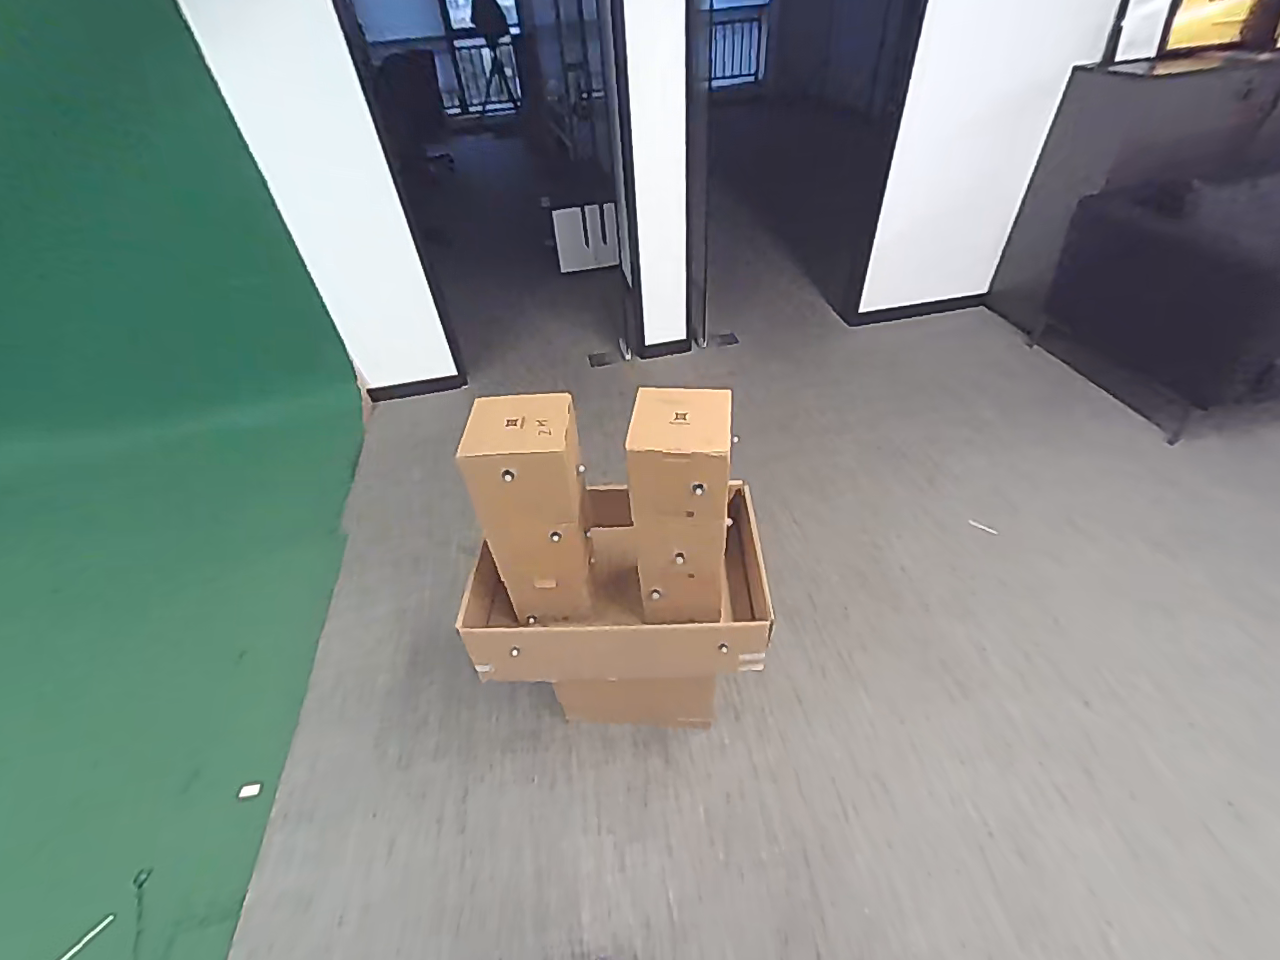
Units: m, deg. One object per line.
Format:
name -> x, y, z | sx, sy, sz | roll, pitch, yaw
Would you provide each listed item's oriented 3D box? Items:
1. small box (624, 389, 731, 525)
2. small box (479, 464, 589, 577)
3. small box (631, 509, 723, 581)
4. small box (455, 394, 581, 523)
small box -> 0.071, -0.040, 0.949 | 0.168, 0.176, 0.179 | 4, 43, 7
small box -> -0.202, 0.082, 1.082 | 0.179, 0.176, 0.168 | -1, 43, 0
small box -> 0.079, 0.080, 1.061 | 0.168, 0.176, 0.179 | 3, 44, 7
small box -> -0.206, -0.036, 0.967 | 0.179, 0.176, 0.168 | -2, 44, 0
